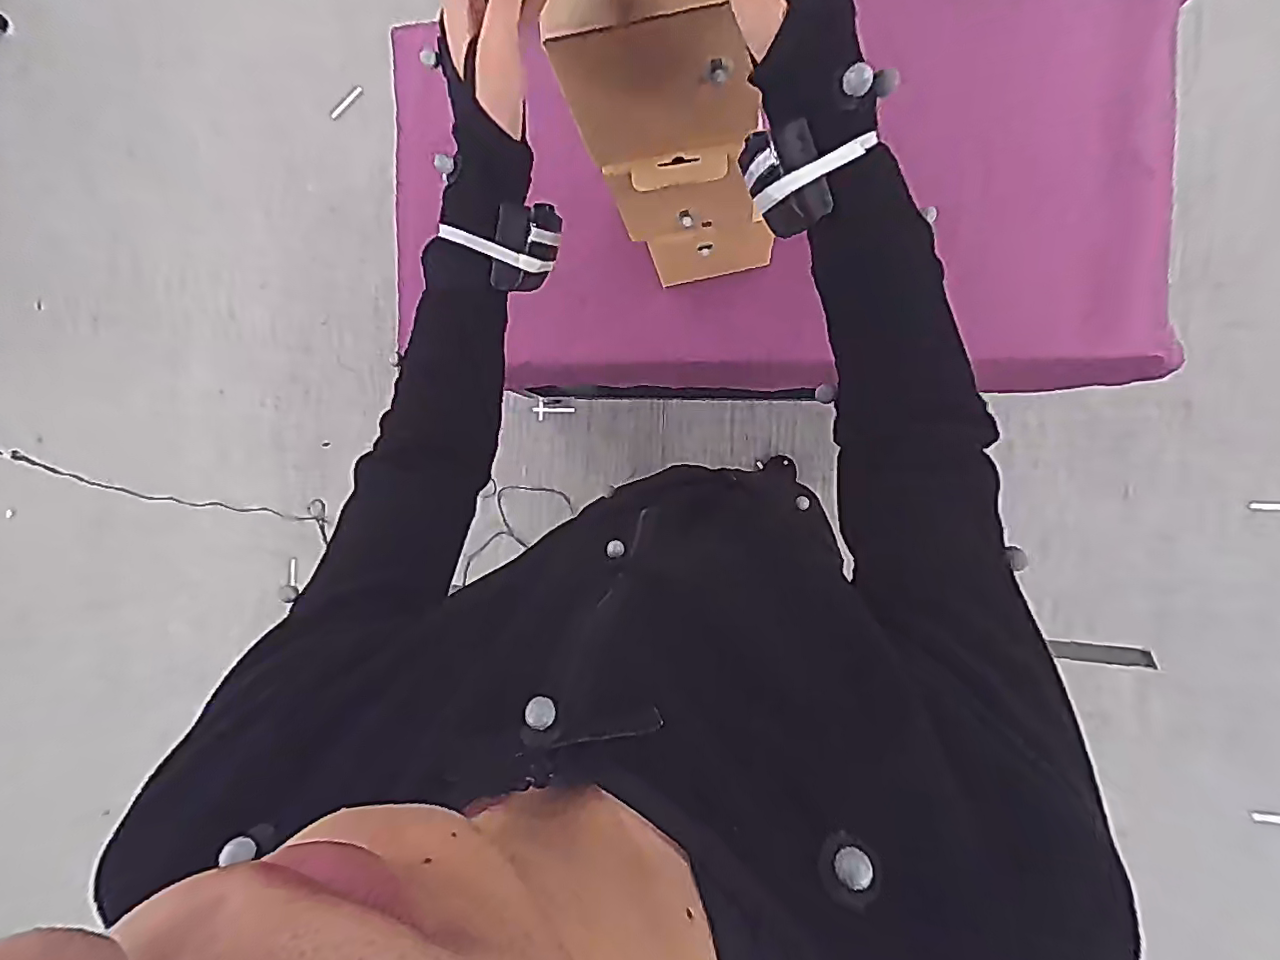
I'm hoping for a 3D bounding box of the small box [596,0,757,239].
[{"bbox_3d":[0.049,-0.417,0.645,0.168,0.176,0.179,-3,90,10],"label":"small box"}]

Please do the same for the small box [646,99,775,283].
[{"bbox_3d":[0.097,-0.412,0.803,0.179,0.176,0.168,-9,89,9],"label":"small box"}]
